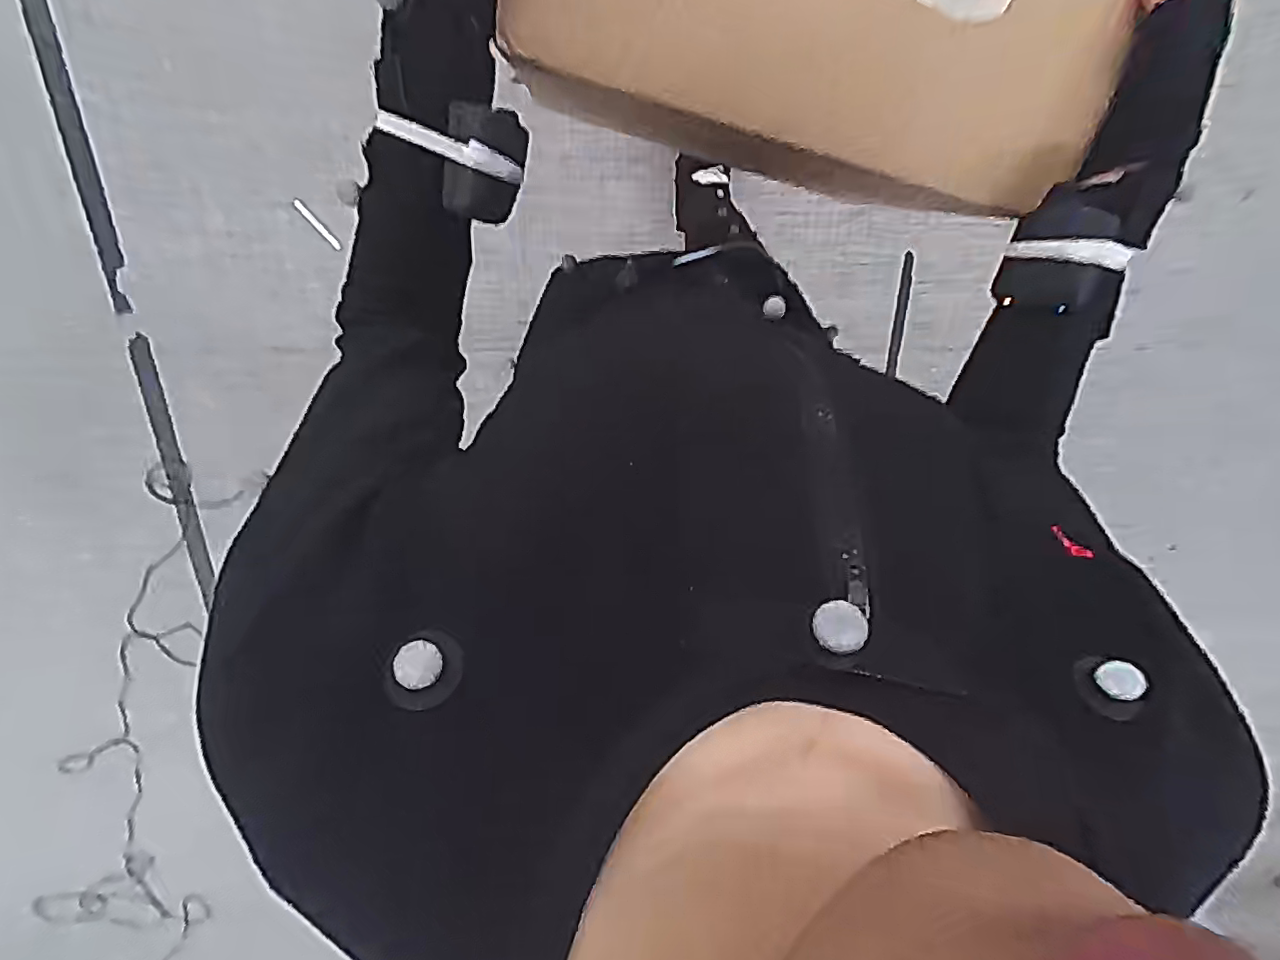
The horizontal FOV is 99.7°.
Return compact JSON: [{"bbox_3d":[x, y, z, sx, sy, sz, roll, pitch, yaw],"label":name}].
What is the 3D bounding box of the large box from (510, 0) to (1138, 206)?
[{"bbox_3d":[0.127,-0.443,0.436,0.408,0.320,0.320,10,119,-12],"label":"large box"}]
